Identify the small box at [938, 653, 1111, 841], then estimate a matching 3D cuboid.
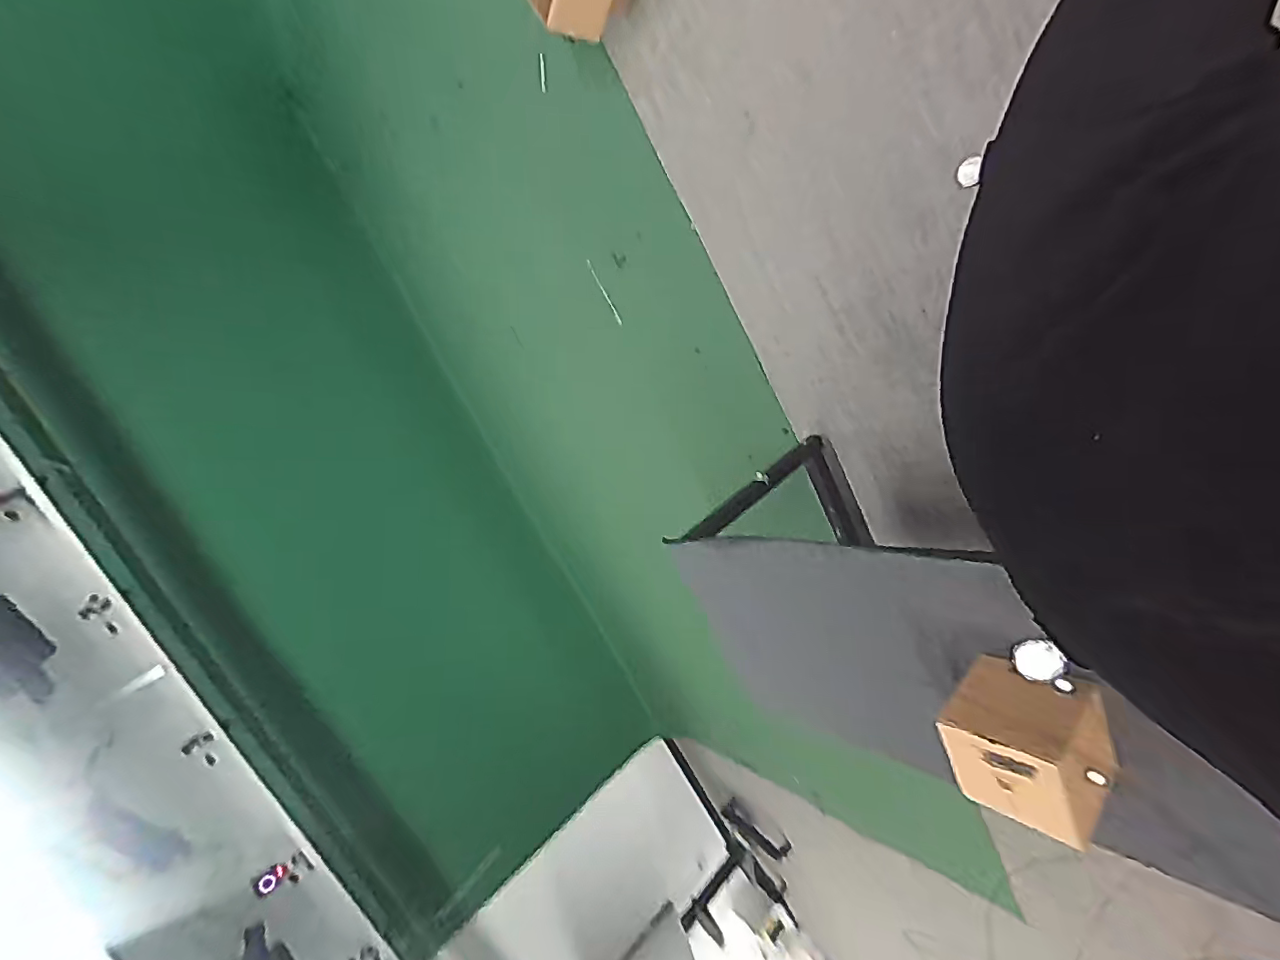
[{"bbox_3d":[0.615,0.409,0.865,0.168,0.176,0.179,1,121,57],"label":"small box"}]
